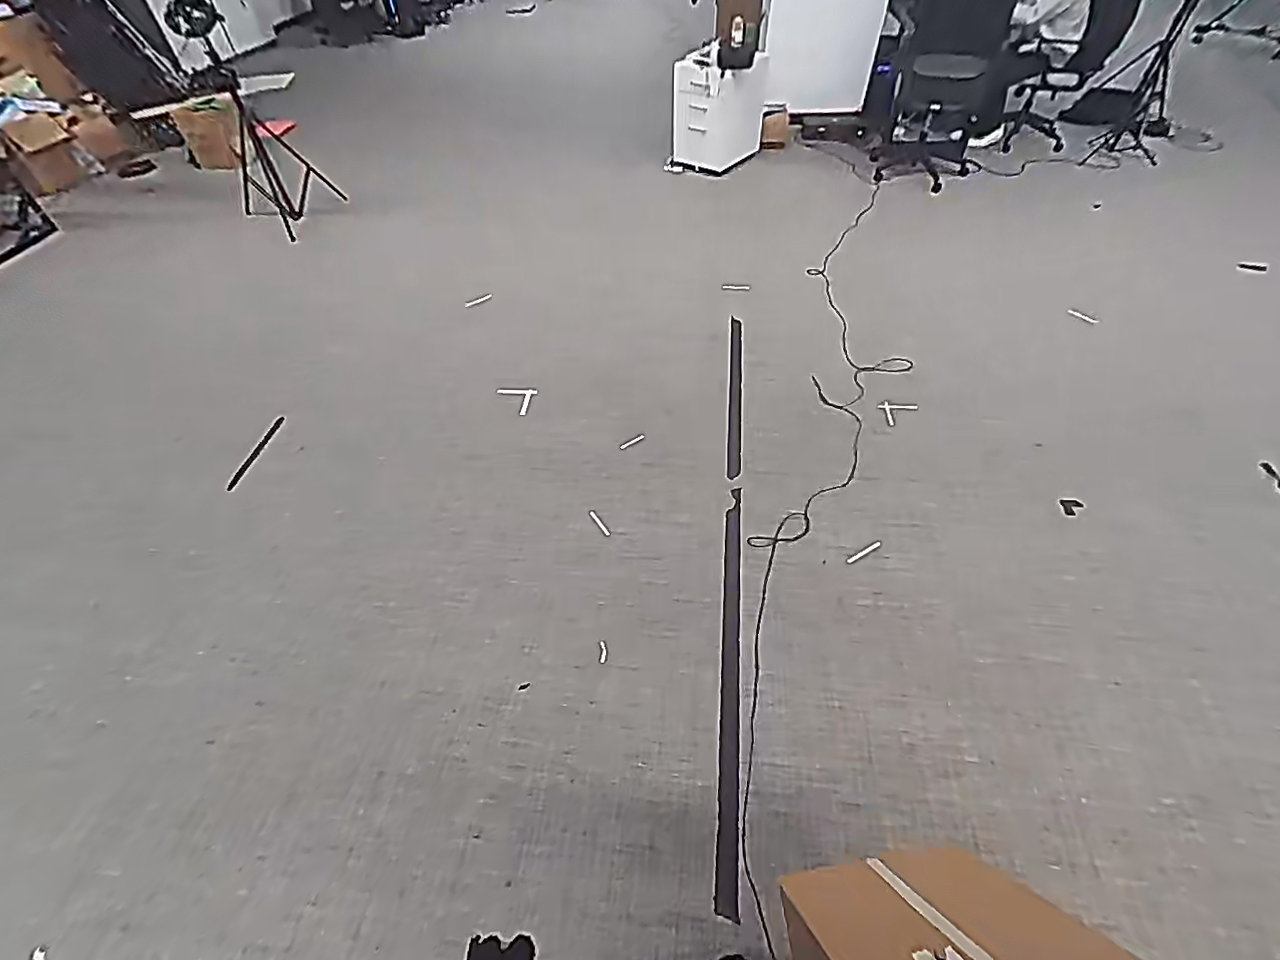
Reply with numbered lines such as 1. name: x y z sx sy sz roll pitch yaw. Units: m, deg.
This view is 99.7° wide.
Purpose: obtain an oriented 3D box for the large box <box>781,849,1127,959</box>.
1. large box: 0.404 0.718 0.647 0.320 0.408 0.320 -7 77 -6
